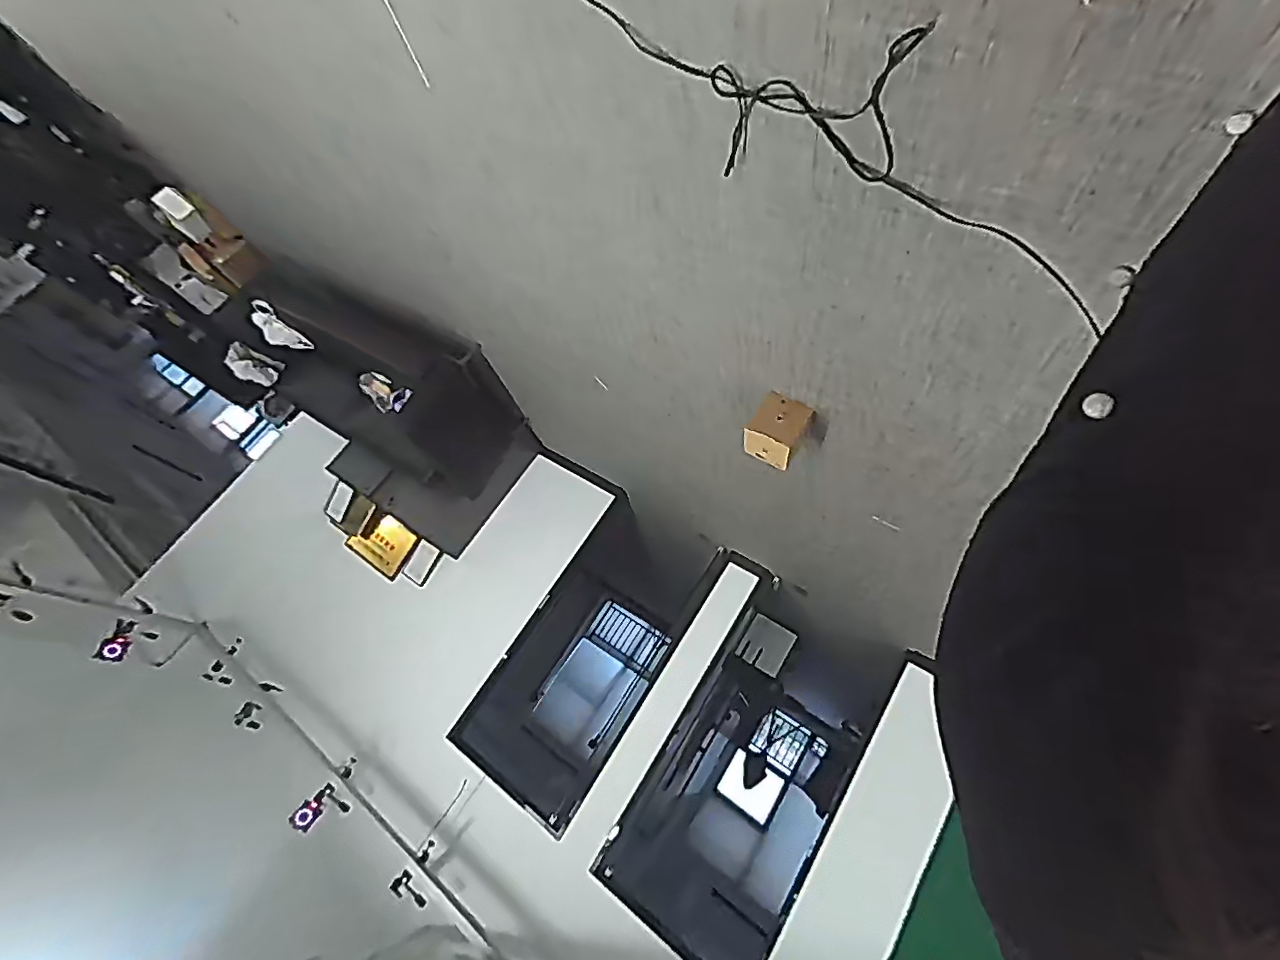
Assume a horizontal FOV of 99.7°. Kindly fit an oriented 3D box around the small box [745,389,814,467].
[{"bbox_3d":[0.479,-0.182,1.858,0.168,0.176,0.179,30,163,21],"label":"small box"}]
